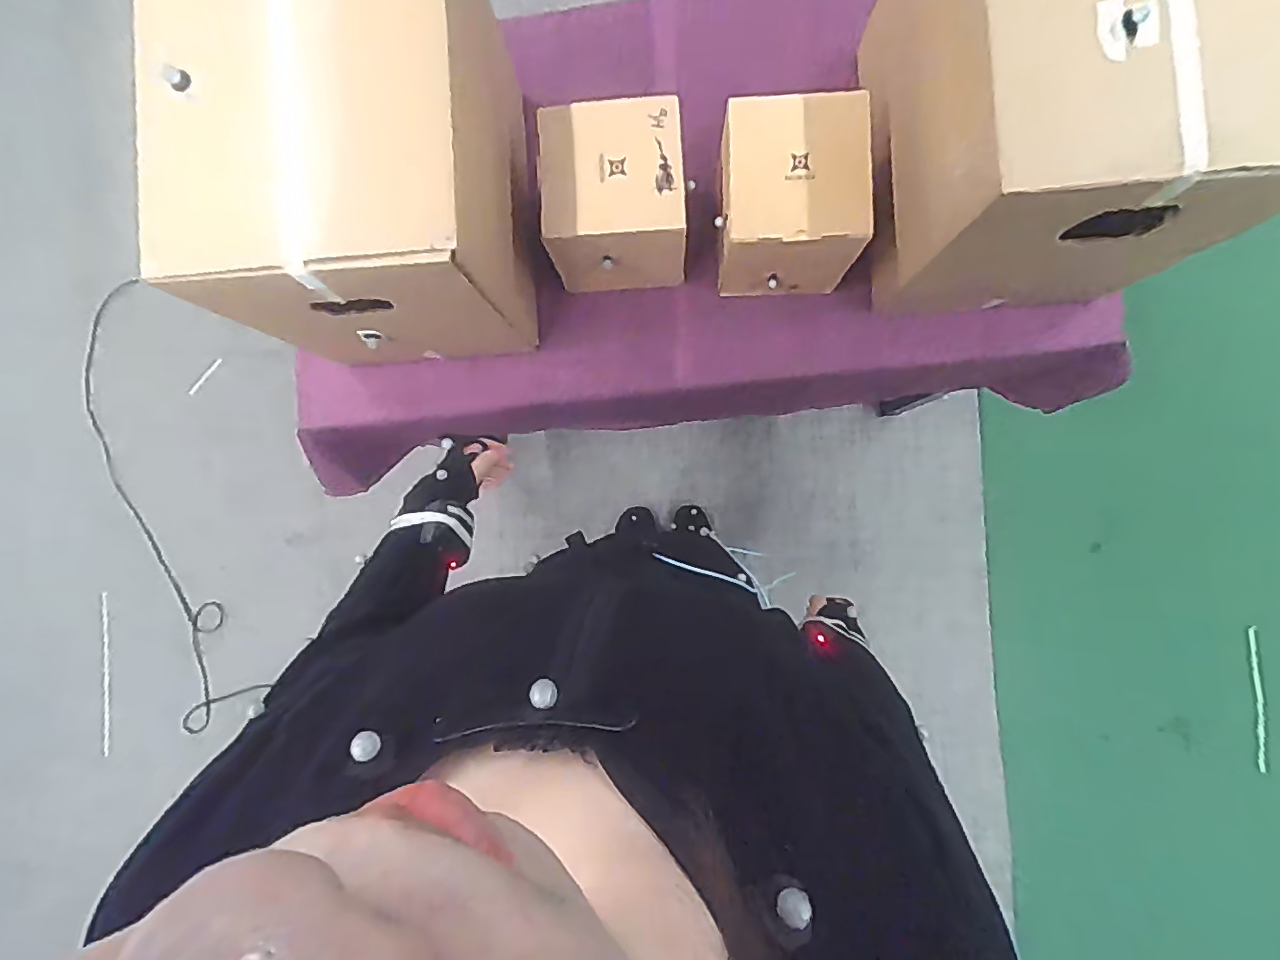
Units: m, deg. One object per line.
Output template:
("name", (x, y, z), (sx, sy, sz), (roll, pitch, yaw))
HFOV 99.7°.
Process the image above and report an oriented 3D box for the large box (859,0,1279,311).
("large box", (0.477, -0.452, 0.641), (0.320, 0.320, 0.408), (-2, 88, 3))
